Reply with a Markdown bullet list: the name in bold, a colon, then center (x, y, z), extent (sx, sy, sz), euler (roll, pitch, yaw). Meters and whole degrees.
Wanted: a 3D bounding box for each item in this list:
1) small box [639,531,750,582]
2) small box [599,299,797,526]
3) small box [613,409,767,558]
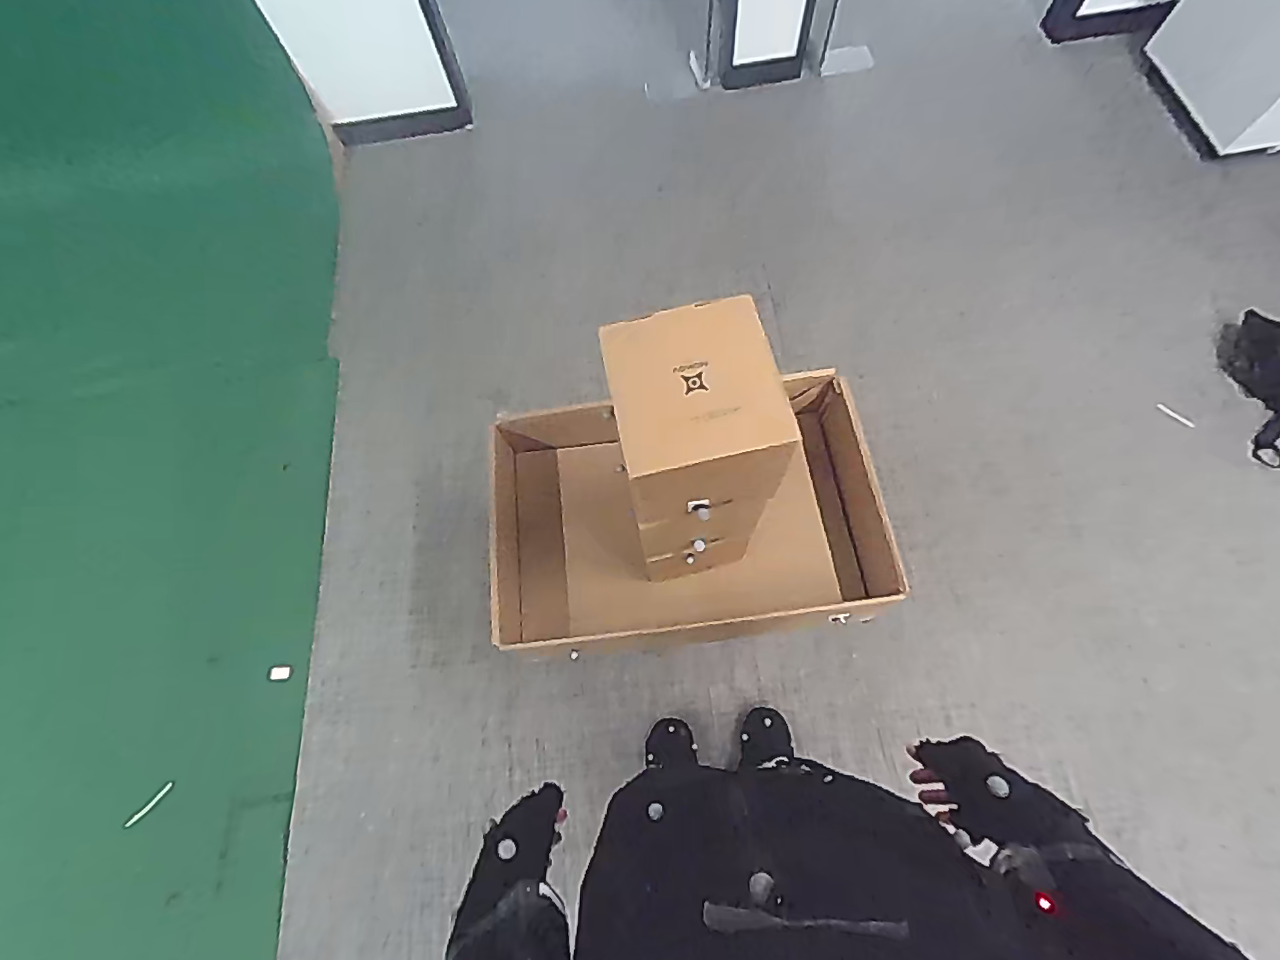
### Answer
- **small box**: center (0.074, 0.056, 0.910), extent (0.168, 0.176, 0.179), euler (-14, 67, 0)
- **small box**: center (0.058, -0.066, 0.608), extent (0.168, 0.176, 0.179), euler (-13, 69, 1)
- **small box**: center (0.063, -0.007, 0.759), extent (0.168, 0.176, 0.179), euler (-13, 69, 0)
